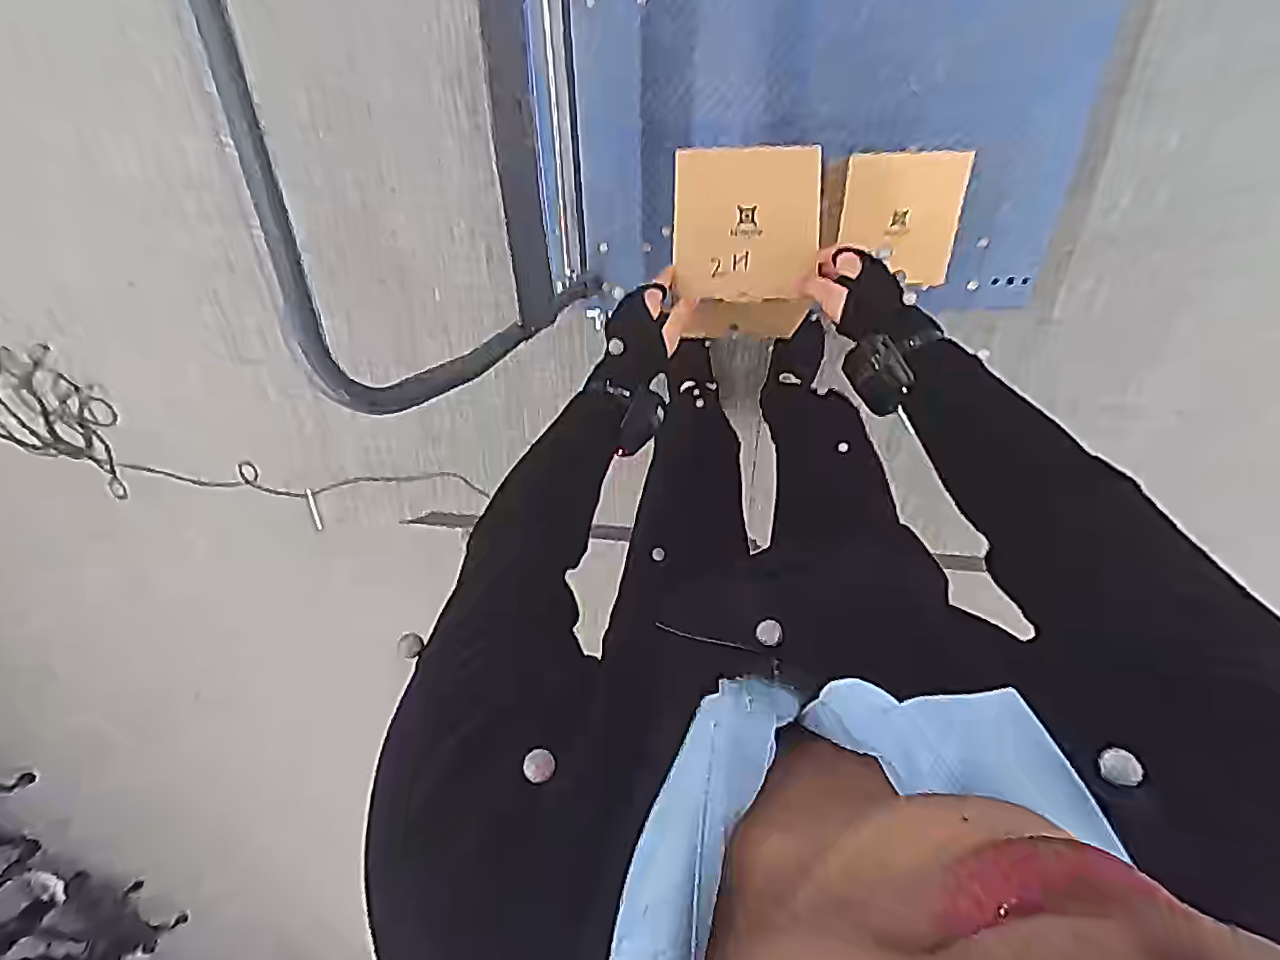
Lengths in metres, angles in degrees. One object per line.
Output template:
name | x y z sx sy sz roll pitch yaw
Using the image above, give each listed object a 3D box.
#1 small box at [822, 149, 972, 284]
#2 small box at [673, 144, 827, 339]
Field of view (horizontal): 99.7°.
small box | 0.383 -0.411 0.853 0.168 0.176 0.179 2 118 7
small box | 0.129 -0.286 0.680 0.168 0.176 0.179 2 91 6
